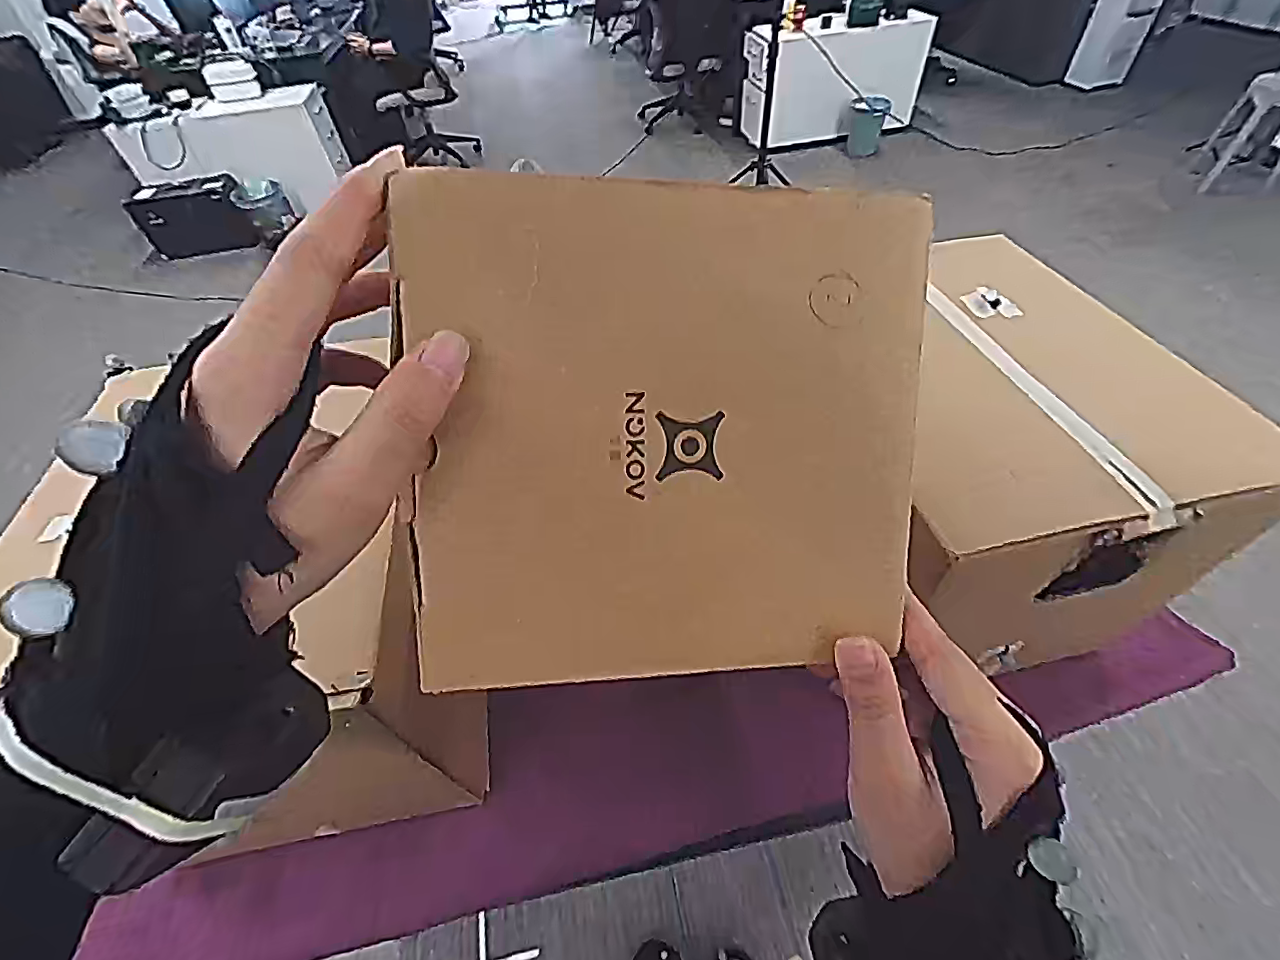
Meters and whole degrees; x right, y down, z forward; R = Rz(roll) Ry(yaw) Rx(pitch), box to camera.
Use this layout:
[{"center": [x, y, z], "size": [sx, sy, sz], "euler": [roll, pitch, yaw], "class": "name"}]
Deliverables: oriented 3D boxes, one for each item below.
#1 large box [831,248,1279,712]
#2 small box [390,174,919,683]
[{"center": [0.334, -0.012, 0.630], "size": [0.320, 0.320, 0.408], "euler": [-11, 48, -5], "class": "large box"}, {"center": [-0.001, -0.025, 0.263], "size": [0.179, 0.168, 0.176], "euler": [-2, 9, -8], "class": "small box"}]
